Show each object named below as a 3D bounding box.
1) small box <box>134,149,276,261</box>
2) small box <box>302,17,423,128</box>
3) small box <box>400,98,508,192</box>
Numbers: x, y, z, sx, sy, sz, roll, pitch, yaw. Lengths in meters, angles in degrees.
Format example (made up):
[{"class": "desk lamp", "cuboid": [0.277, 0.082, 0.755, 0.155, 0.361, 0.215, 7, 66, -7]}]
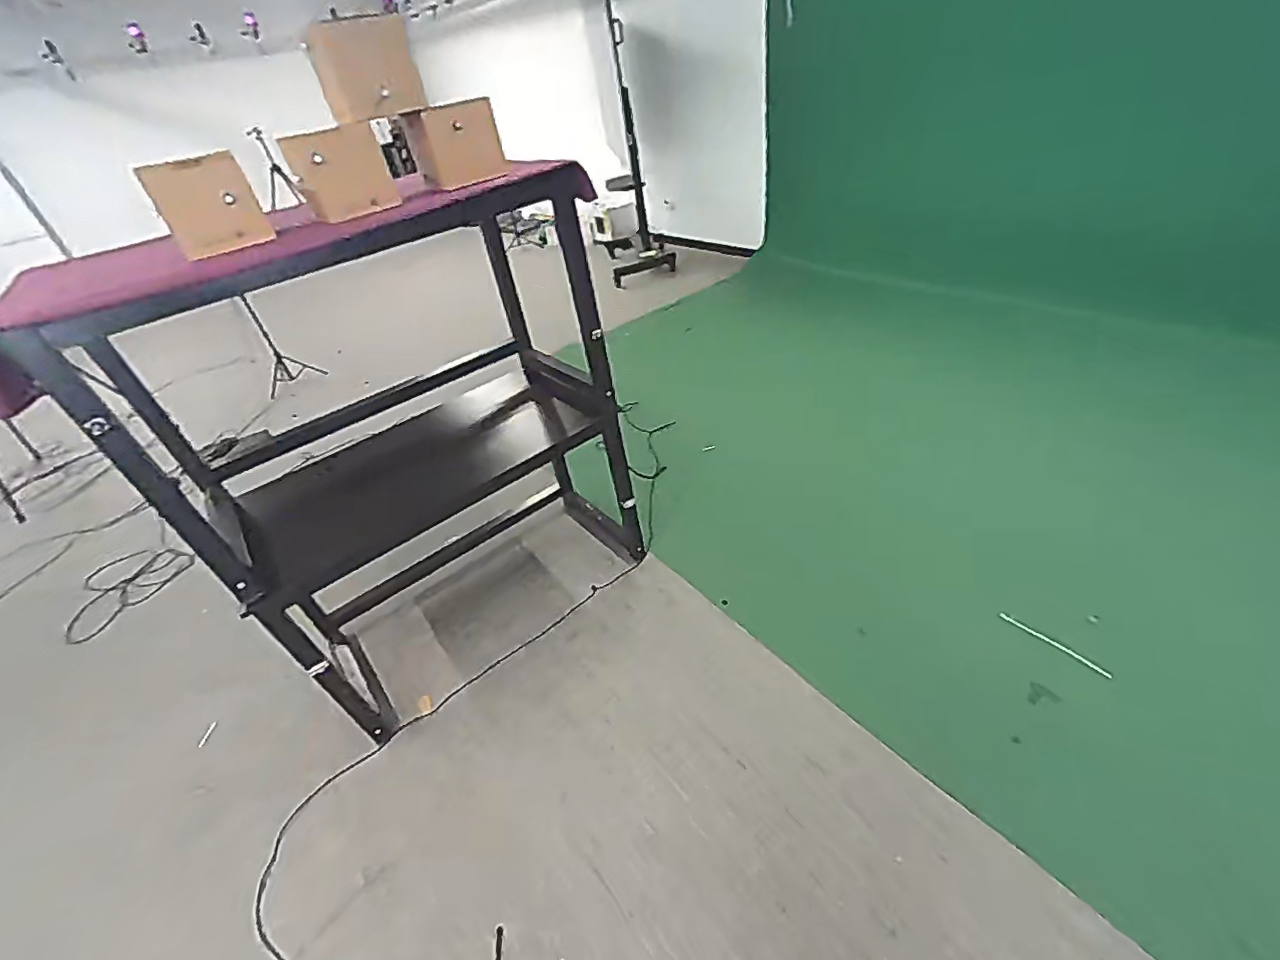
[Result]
[{"class": "small box", "cuboid": [-0.881, -0.562, 1.107, 0.168, 0.176, 0.179, -30, 41, -25]}, {"class": "small box", "cuboid": [-0.597, -0.884, 1.183, 0.179, 0.176, 0.168, -30, 41, -24]}, {"class": "small box", "cuboid": [-0.459, -0.827, 1.344, 0.179, 0.176, 0.168, -32, 42, -25]}]
